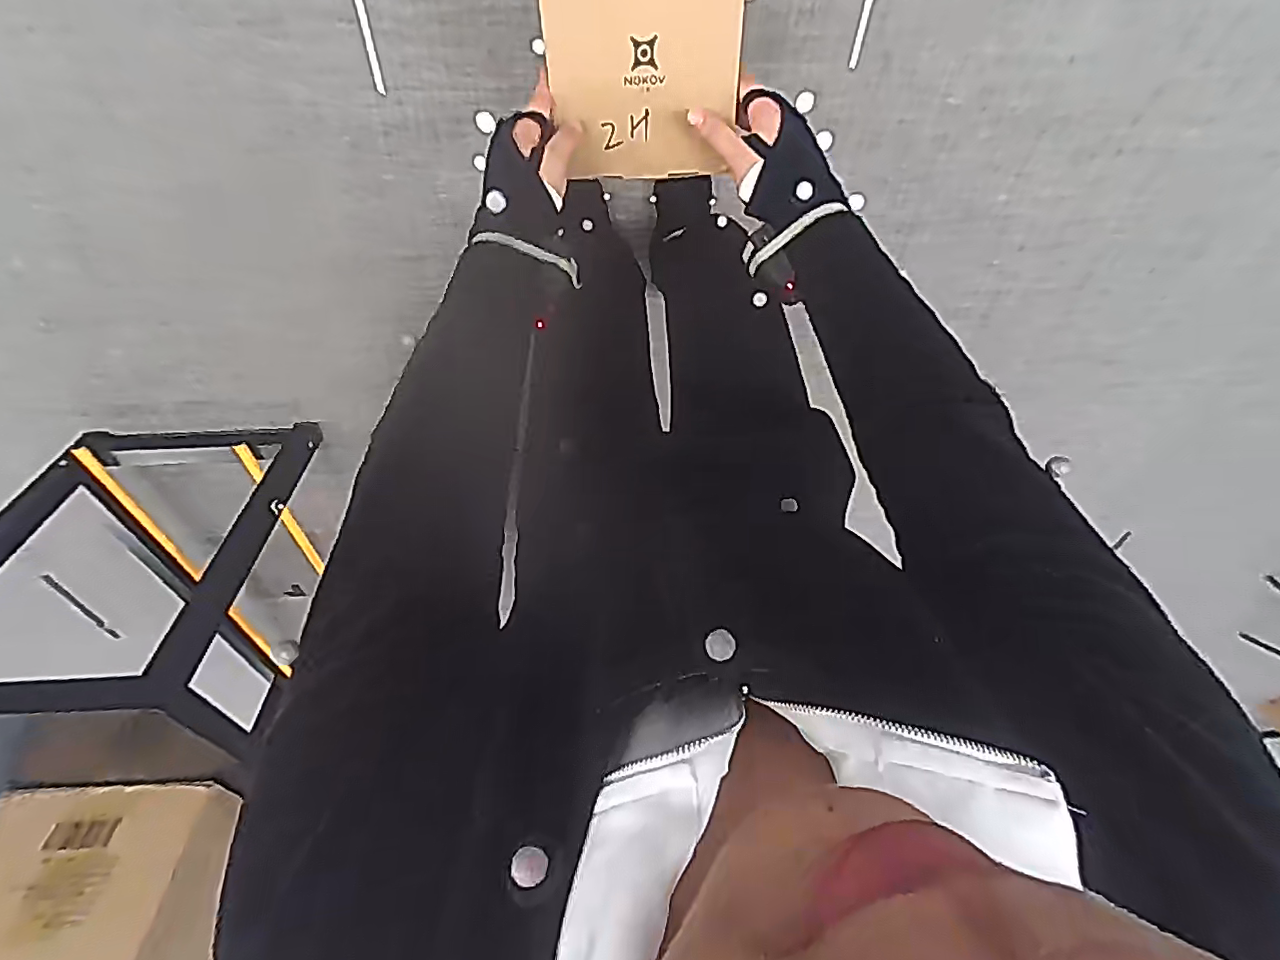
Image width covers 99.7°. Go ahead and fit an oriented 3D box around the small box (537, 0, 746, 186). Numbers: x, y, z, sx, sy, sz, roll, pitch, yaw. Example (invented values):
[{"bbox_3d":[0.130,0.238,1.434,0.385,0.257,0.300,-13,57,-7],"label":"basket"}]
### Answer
[{"bbox_3d":[0.000,-0.397,0.503,0.168,0.176,0.179,-2,136,1],"label":"small box"}]
